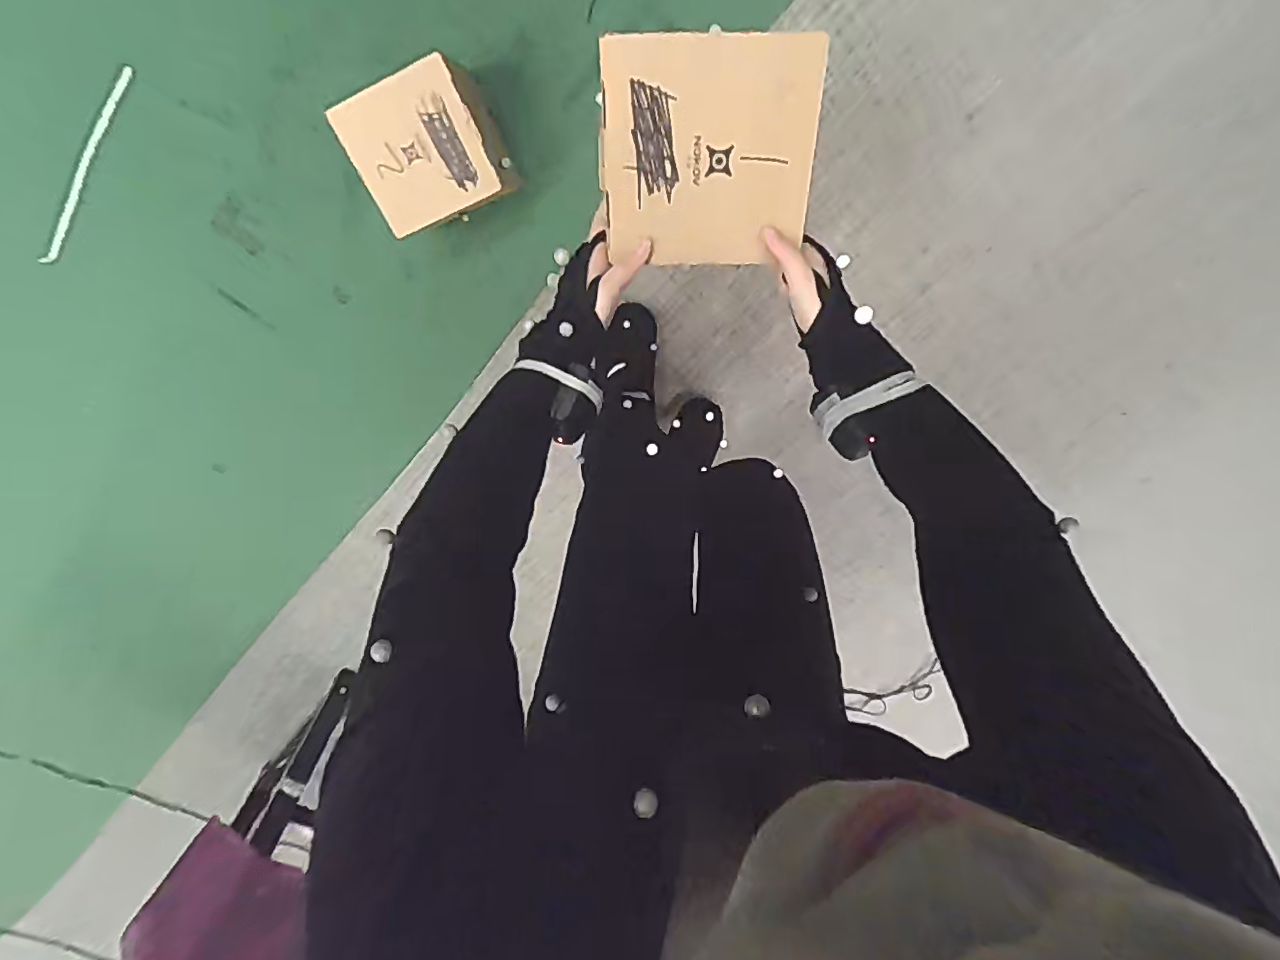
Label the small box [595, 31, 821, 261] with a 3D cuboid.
[{"bbox_3d":[0.053,-0.314,0.523,0.179,0.176,0.168,0,122,0],"label":"small box"}]
